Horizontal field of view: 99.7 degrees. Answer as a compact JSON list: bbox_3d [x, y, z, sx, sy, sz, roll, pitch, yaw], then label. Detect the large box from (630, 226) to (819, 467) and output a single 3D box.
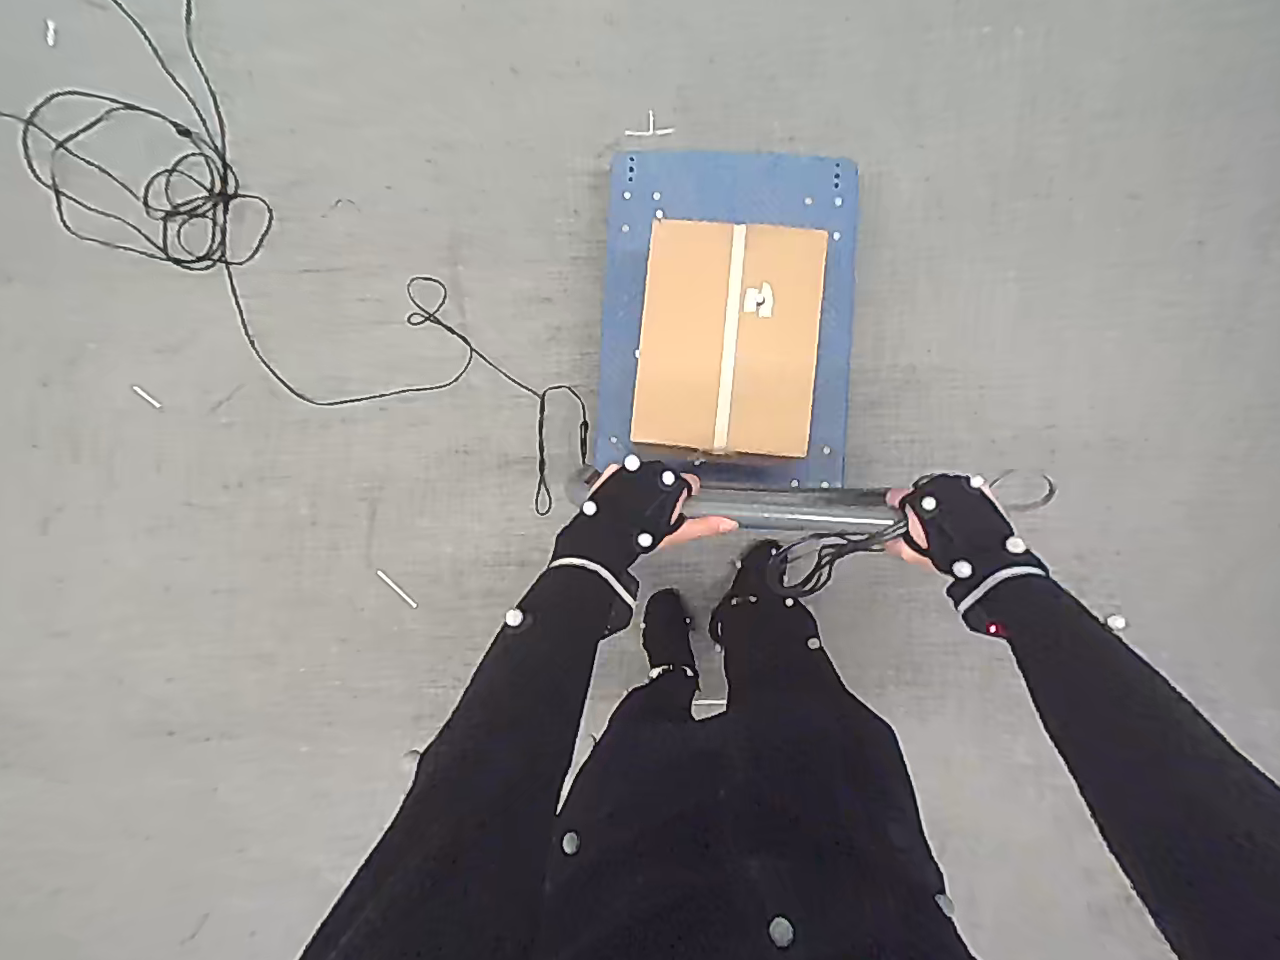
[{"bbox_3d":[0.159,-0.242,1.108,0.320,0.320,0.408,5,88,2],"label":"large box"}]
